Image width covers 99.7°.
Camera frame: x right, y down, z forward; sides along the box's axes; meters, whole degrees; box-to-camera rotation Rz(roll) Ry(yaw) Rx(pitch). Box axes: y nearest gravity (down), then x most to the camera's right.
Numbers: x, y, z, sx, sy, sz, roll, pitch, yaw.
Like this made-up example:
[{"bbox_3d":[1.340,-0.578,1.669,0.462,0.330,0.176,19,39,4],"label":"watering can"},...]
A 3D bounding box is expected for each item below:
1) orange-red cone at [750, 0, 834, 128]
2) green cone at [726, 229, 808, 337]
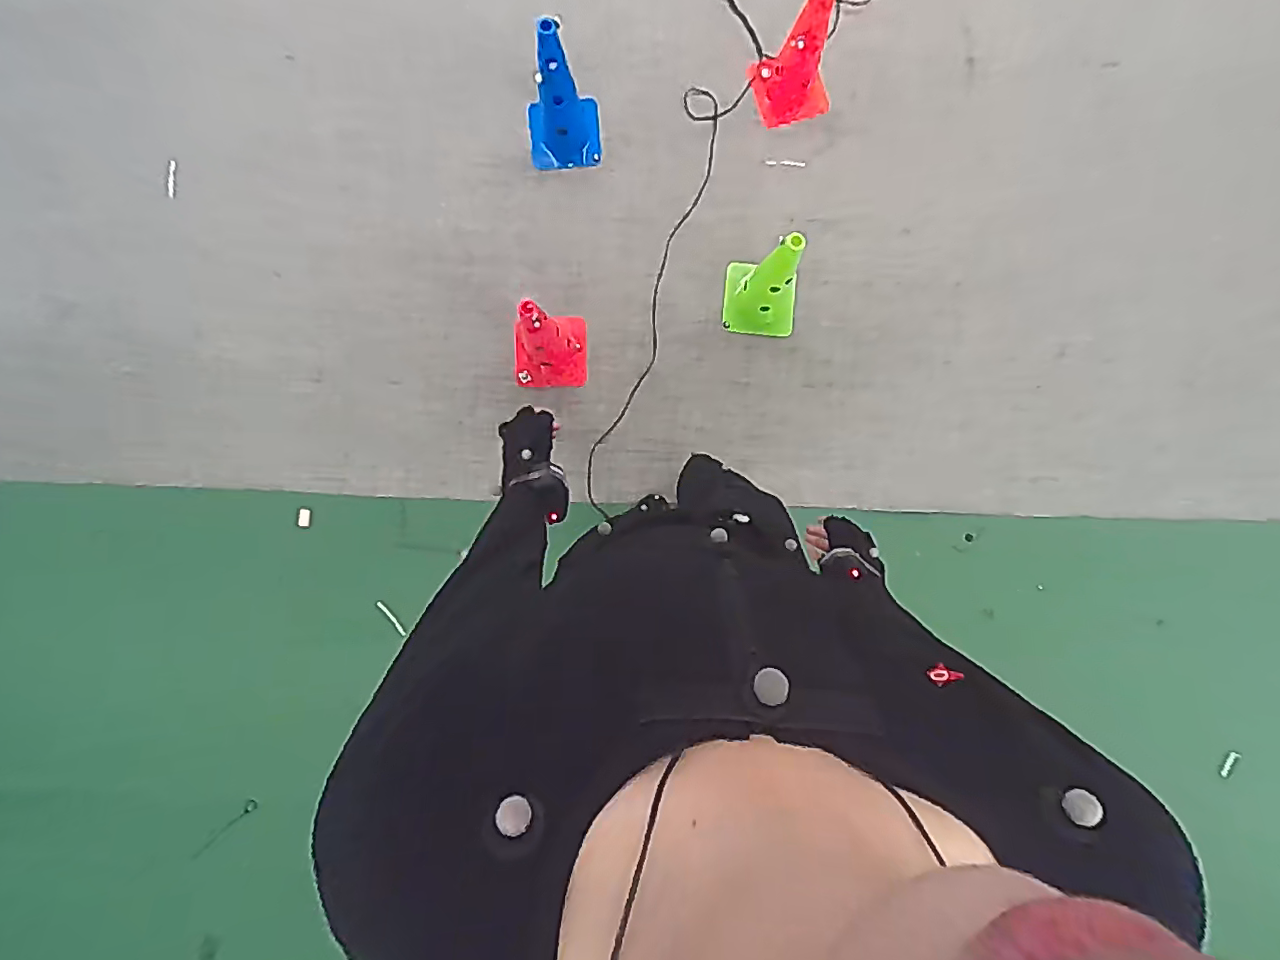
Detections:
[{"bbox_3d":[0.431,-1.132,1.391,0.198,0.360,0.199,-16,89,0],"label":"orange-red cone"},{"bbox_3d":[0.350,-0.516,1.363,0.200,0.368,0.202,4,87,-1],"label":"green cone"}]
